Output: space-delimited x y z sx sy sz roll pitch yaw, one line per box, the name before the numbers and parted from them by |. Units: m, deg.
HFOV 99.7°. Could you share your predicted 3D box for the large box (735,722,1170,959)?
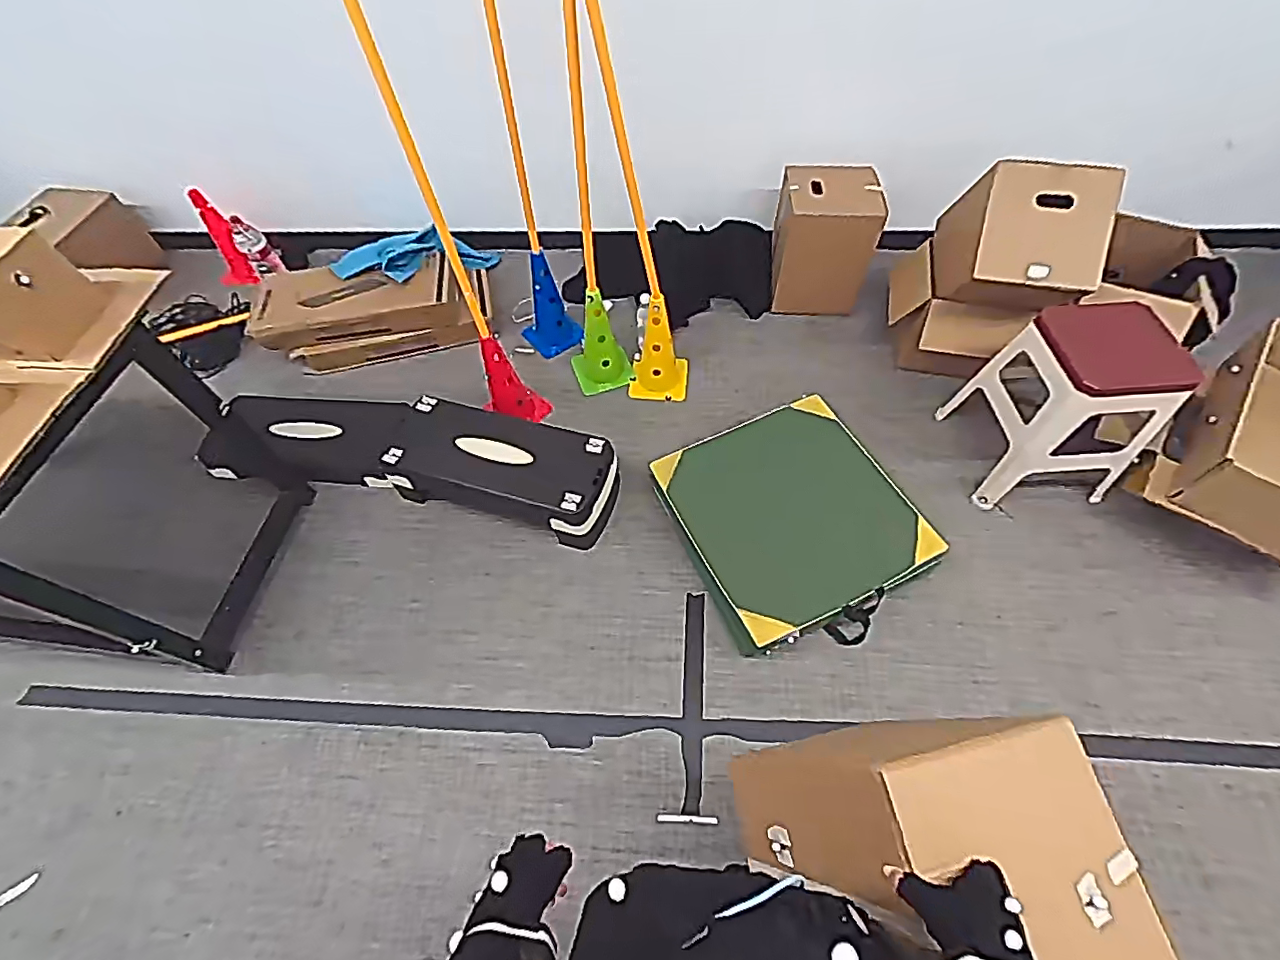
large box | 0.388 0.547 0.771 0.320 0.408 0.320 -3 66 -18
